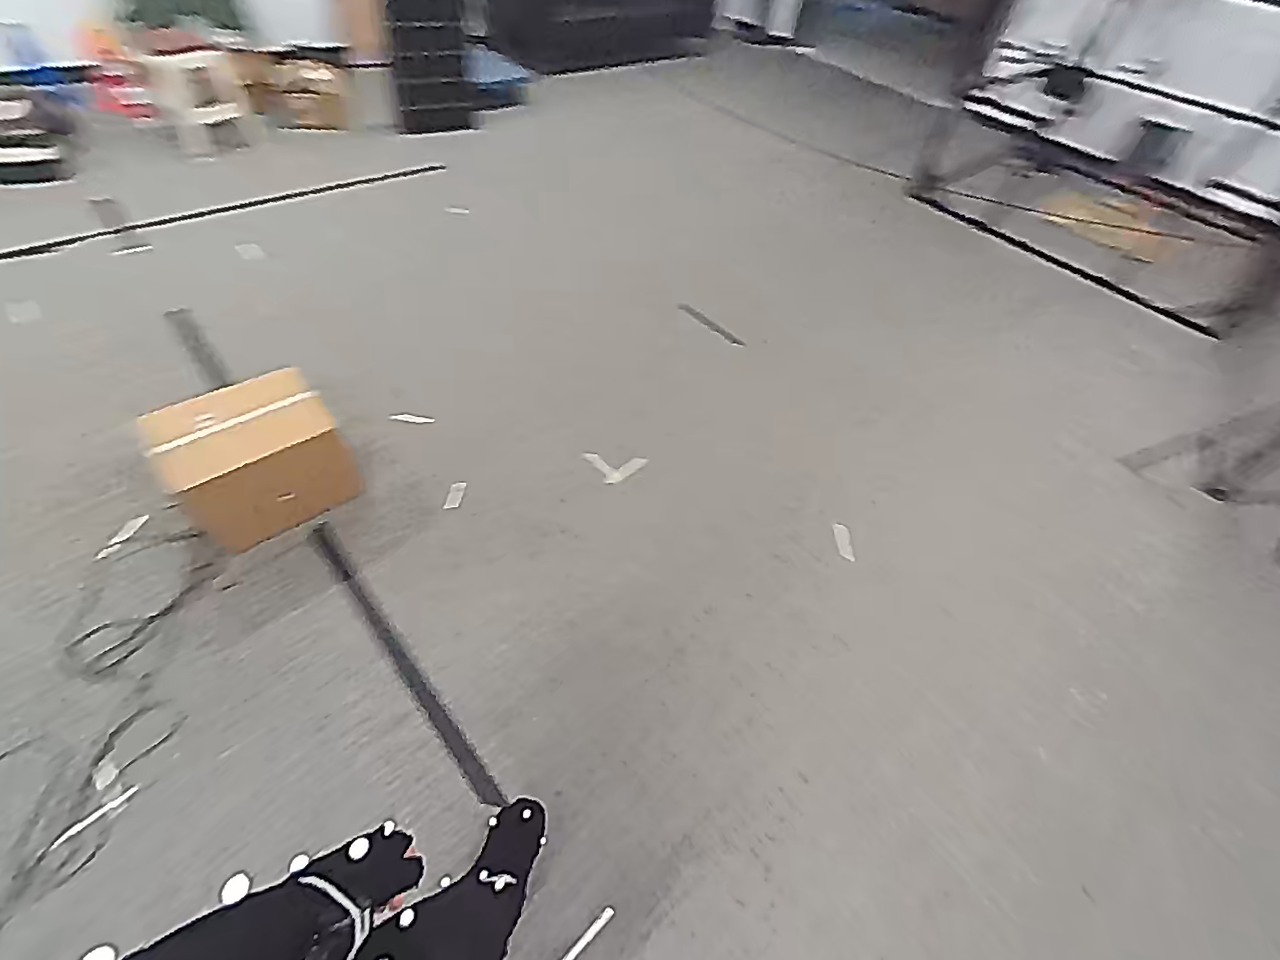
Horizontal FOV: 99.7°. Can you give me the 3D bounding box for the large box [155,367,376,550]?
[{"bbox_3d":[-1.084,-0.068,1.612,0.408,0.320,0.320,-32,63,-29],"label":"large box"}]
